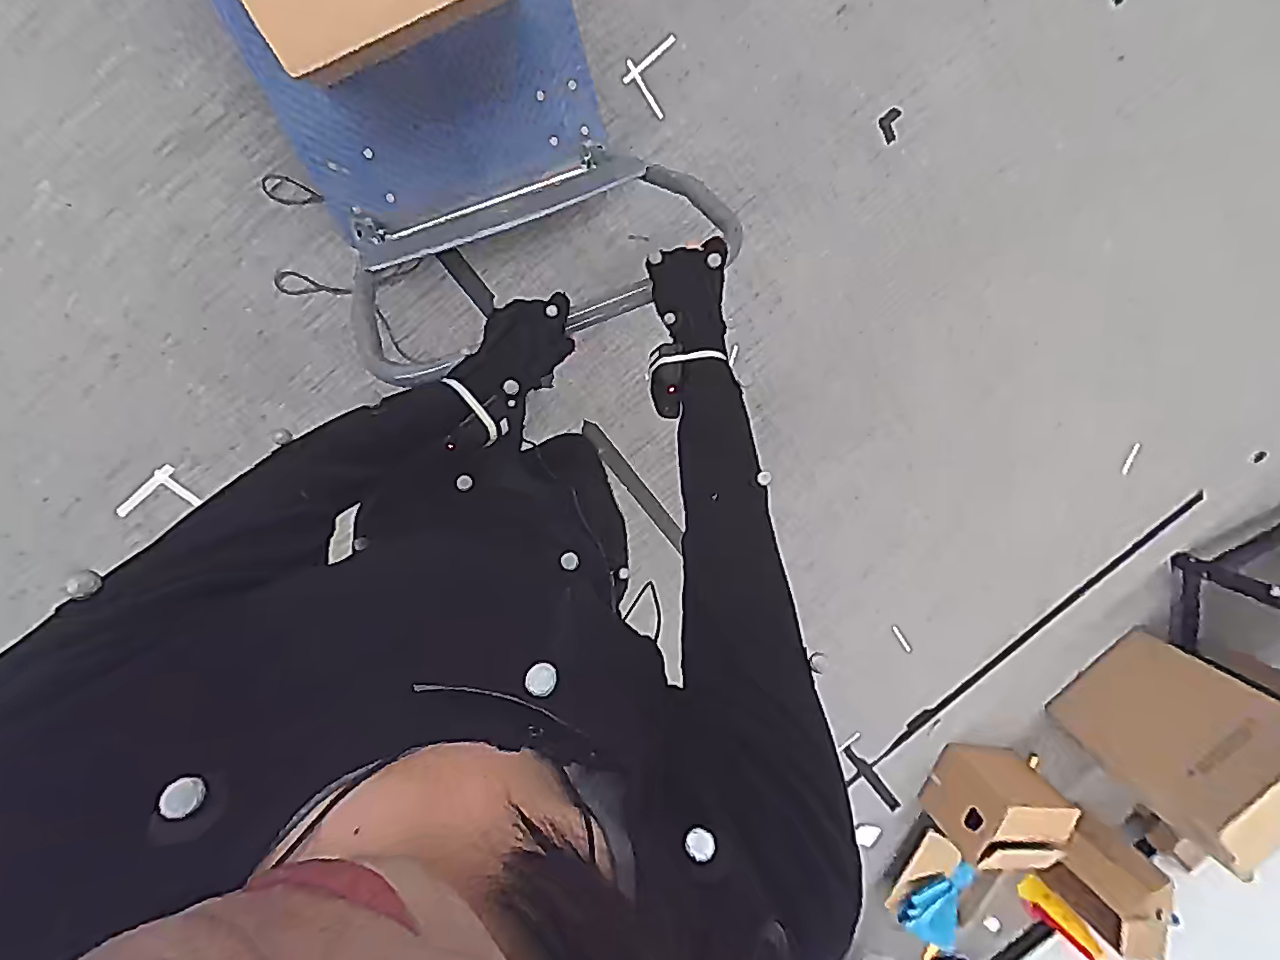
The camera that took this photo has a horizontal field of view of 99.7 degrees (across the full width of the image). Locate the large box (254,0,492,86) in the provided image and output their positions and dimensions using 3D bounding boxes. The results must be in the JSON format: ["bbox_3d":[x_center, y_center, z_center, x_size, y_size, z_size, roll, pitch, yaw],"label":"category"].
[{"bbox_3d":[-0.397,-0.830,0.764,0.408,0.320,0.320,-30,128,-3],"label":"large box"}]
